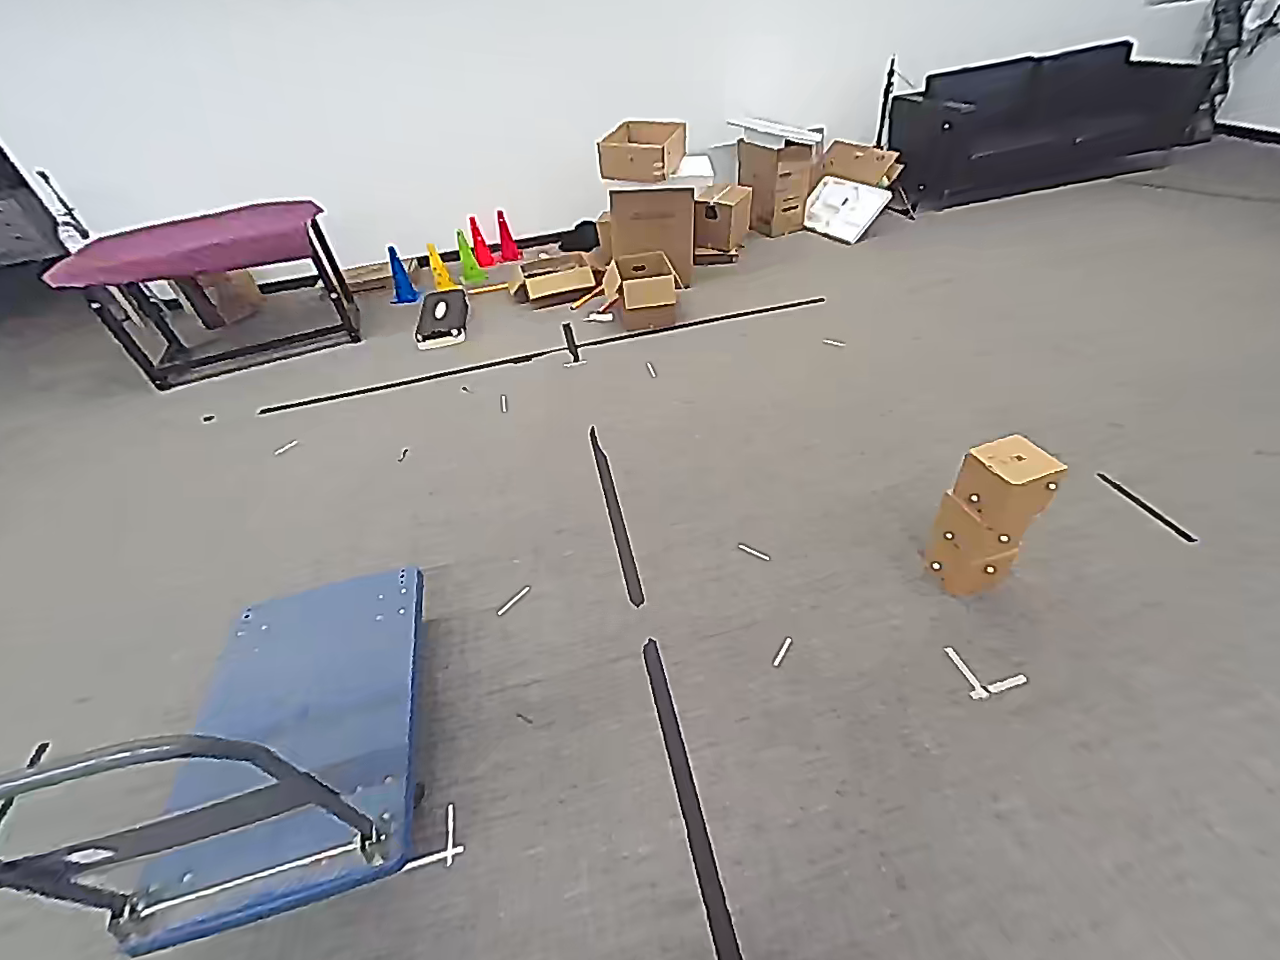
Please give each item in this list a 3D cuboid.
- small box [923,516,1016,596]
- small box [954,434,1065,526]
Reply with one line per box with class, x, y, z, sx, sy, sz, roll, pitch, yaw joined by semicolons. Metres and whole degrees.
small box;1.056;0.246;1.750;0.179;0.176;0.168;-14;42;-7
small box;1.032;0.002;1.529;0.179;0.176;0.168;-17;42;-10
